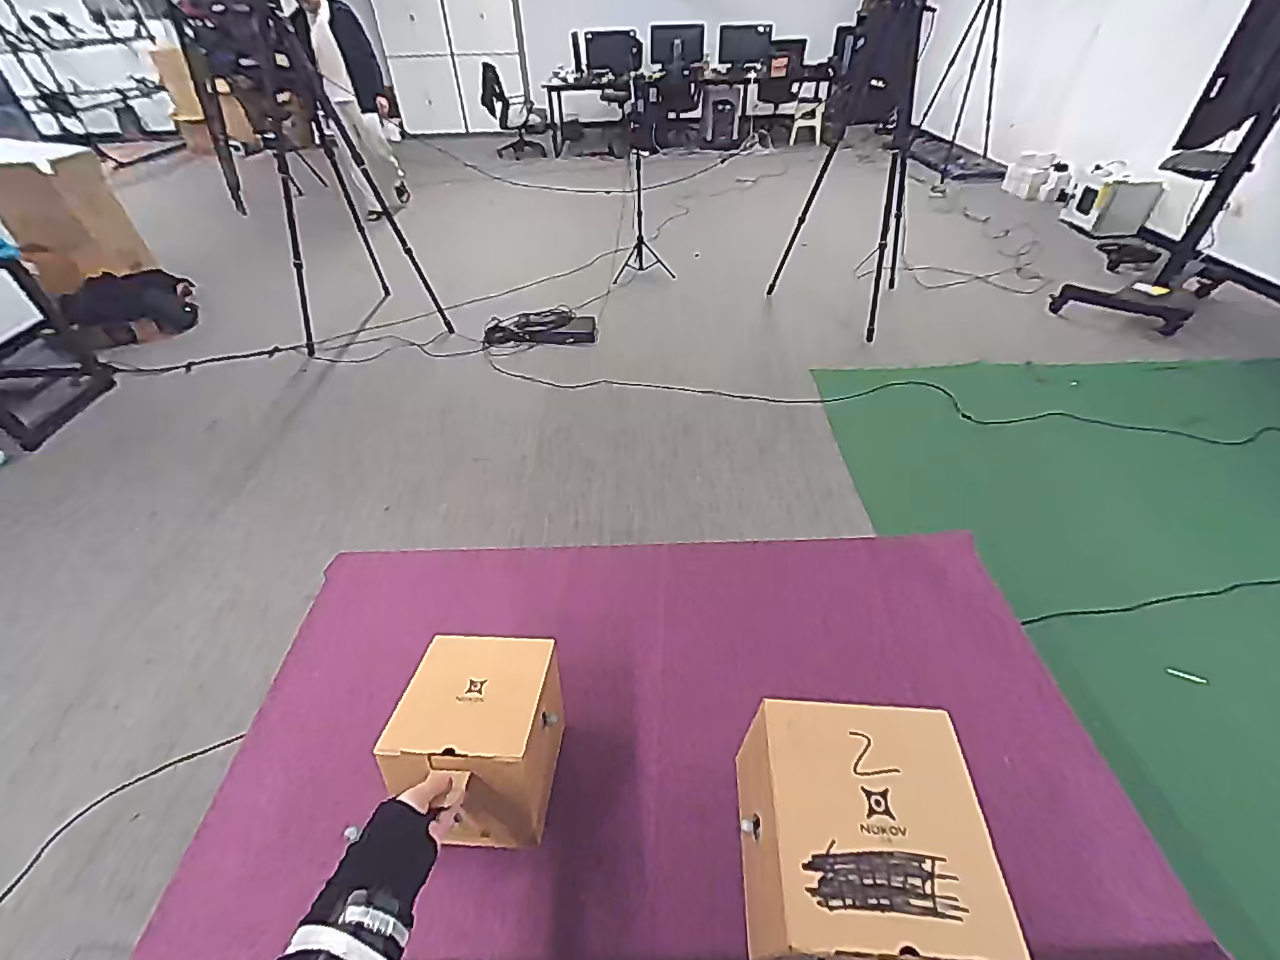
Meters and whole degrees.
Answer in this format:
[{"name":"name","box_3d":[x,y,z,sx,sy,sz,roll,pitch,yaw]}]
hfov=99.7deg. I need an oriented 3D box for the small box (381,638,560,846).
[{"name":"small box","box_3d":[-0.202,0.332,0.701,0.168,0.176,0.179,1,29,3]}]
